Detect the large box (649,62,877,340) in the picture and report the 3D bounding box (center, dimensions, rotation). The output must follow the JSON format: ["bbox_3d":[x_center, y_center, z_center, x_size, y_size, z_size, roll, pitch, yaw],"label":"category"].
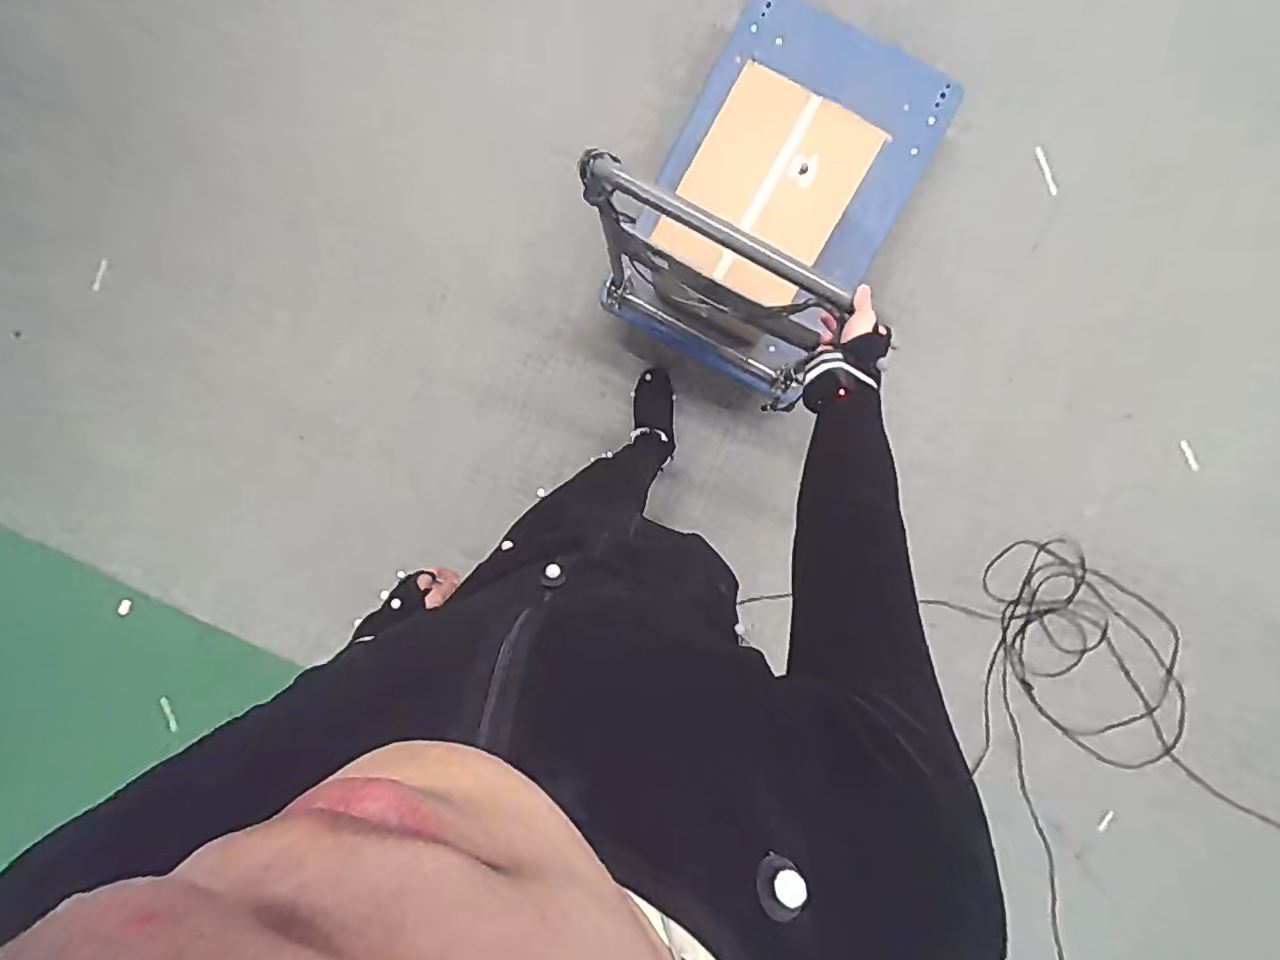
[{"bbox_3d":[0.250,-0.591,1.229,0.320,0.320,0.408,30,94,0],"label":"large box"}]
